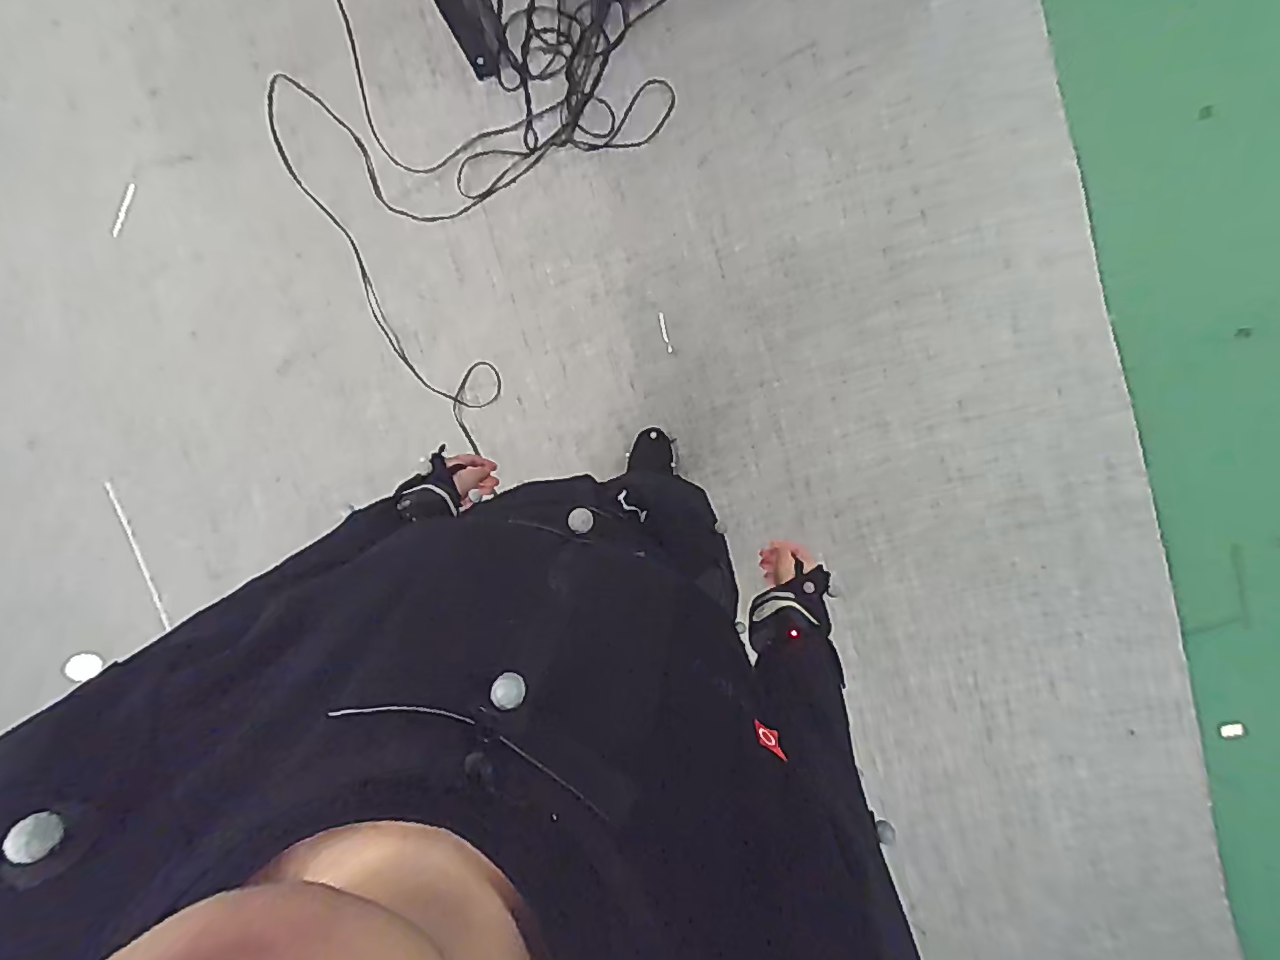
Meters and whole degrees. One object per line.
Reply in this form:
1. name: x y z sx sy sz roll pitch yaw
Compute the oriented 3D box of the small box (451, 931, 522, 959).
1. small box: -0.419 1.356 1.449 0.168 0.176 0.179 -10 96 6
